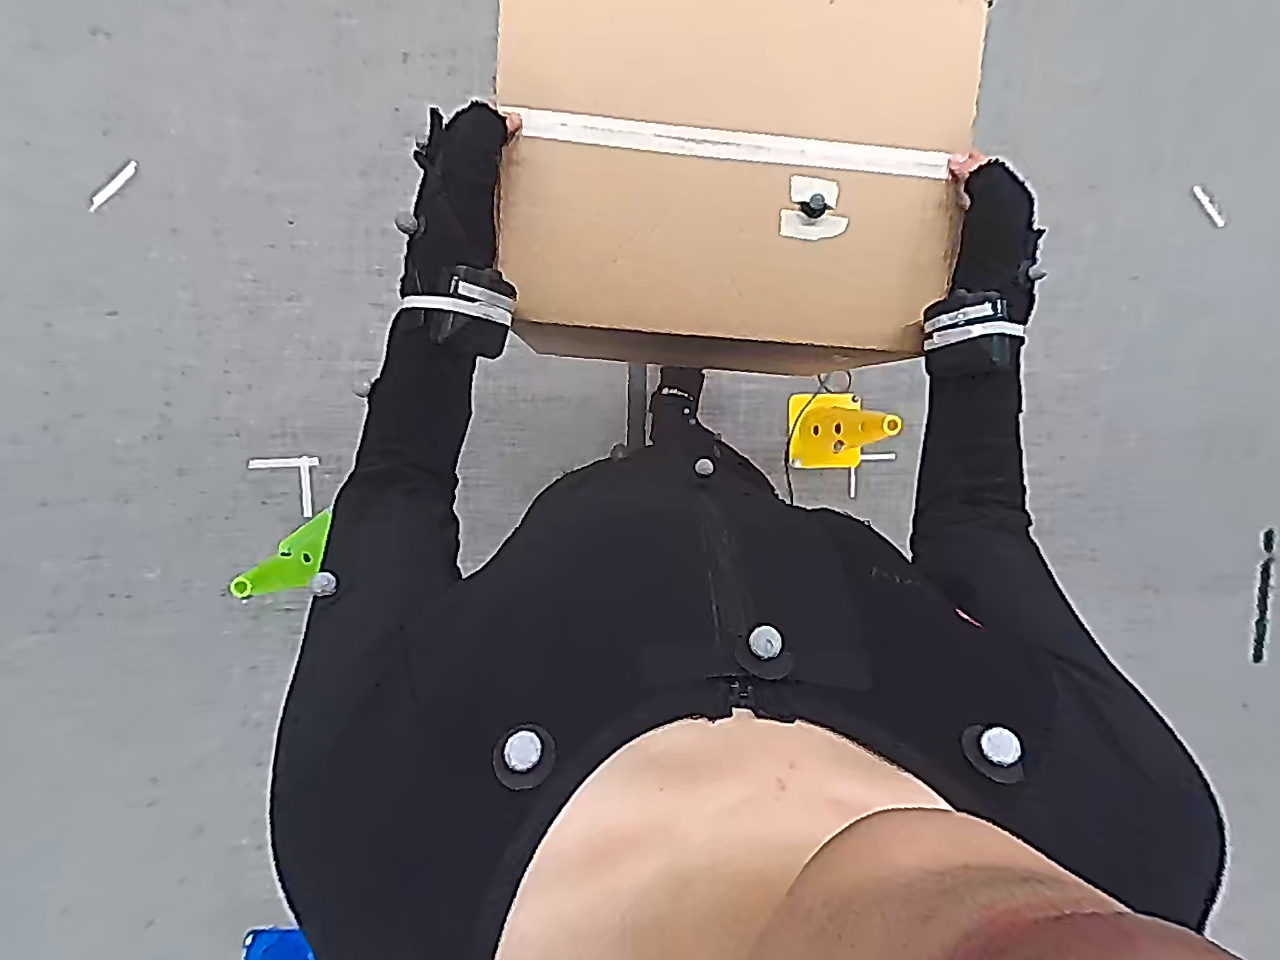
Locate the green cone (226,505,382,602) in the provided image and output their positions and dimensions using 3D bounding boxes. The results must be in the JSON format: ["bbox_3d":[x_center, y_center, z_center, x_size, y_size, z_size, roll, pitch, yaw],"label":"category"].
[{"bbox_3d":[-0.798,0.202,1.240,0.202,0.368,0.200,-37,94,0],"label":"green cone"}]

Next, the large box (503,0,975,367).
[{"bbox_3d":[0.072,-0.307,0.611,0.408,0.320,0.320,3,97,-5],"label":"large box"}]

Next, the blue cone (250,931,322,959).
[{"bbox_3d":[-0.954,1.321,1.301,0.192,0.380,0.193,3,92,-2],"label":"blue cone"}]
